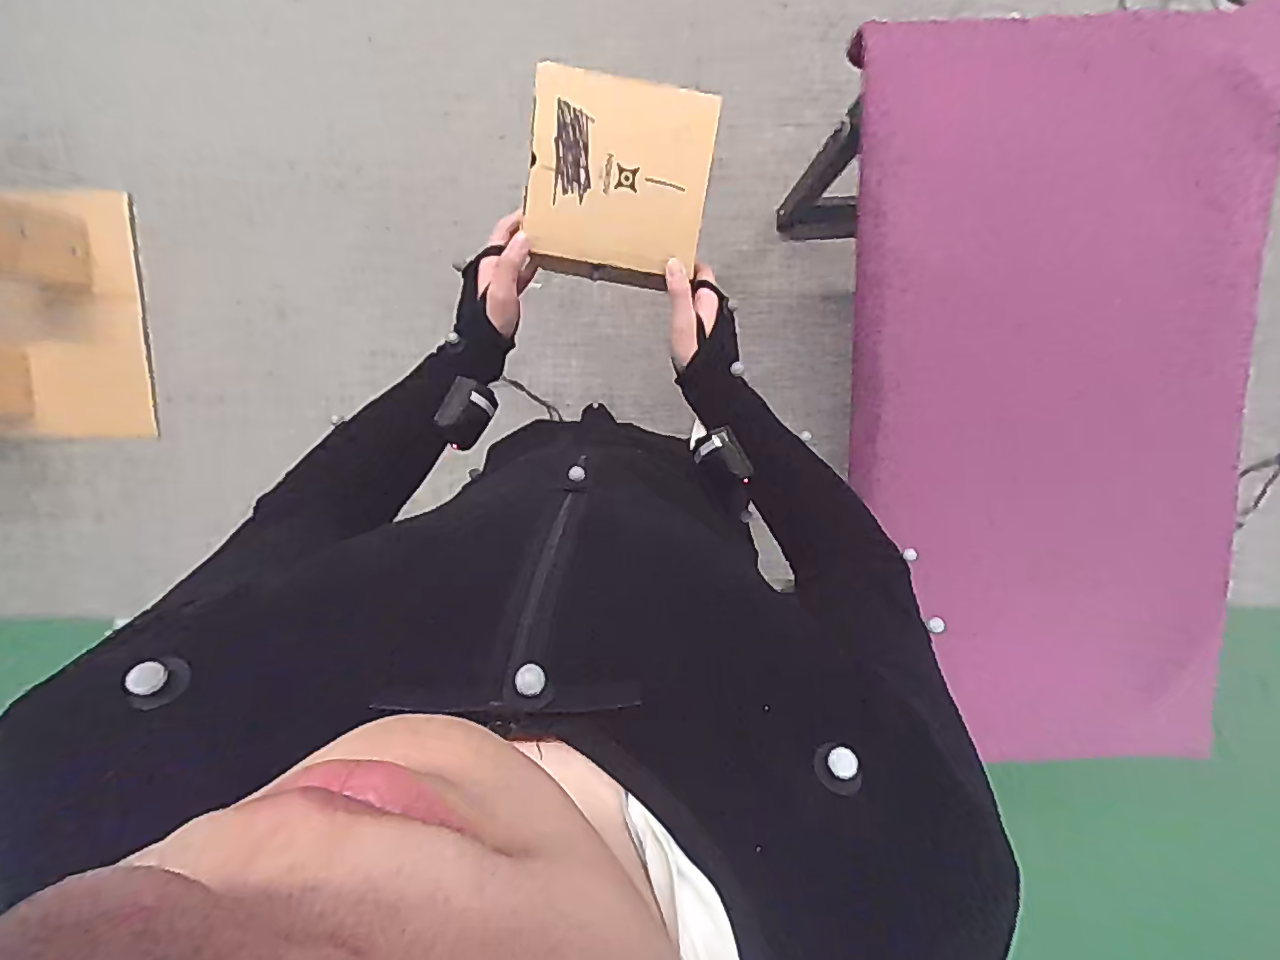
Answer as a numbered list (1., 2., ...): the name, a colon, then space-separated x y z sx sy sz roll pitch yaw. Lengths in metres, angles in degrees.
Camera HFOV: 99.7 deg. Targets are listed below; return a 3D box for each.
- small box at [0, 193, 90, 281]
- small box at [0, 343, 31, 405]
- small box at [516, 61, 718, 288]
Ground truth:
1. small box: -1.631 -0.643 1.439 0.168 0.176 0.179 3 98 0
2. small box: -1.851 -0.296 1.486 0.168 0.176 0.179 1 99 0
3. small box: -0.027 -0.314 0.595 0.179 0.176 0.168 8 105 -5
